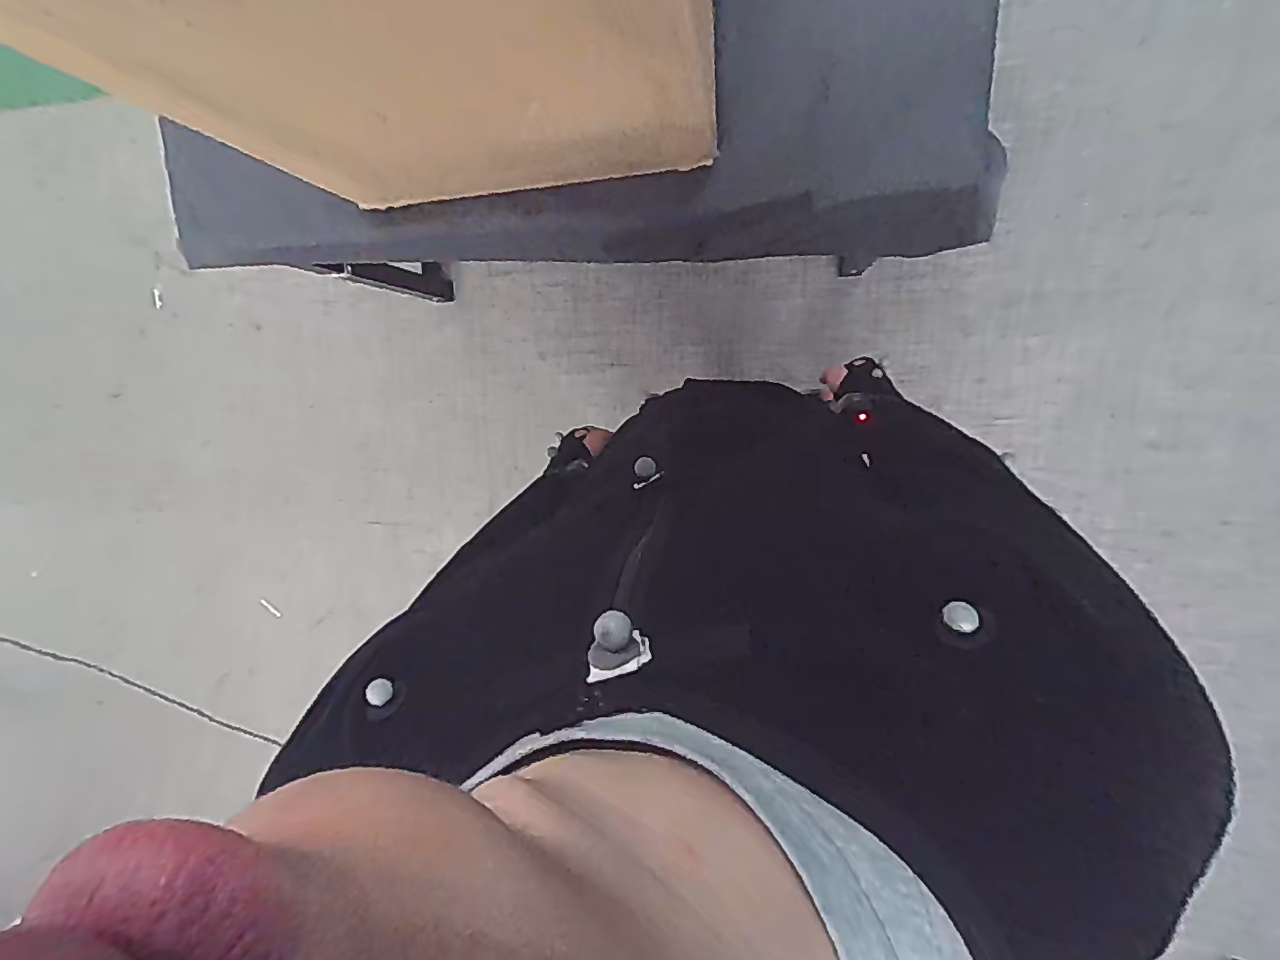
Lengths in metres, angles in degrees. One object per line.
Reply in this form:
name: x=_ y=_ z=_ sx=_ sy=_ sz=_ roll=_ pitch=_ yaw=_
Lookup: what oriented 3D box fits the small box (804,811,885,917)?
small box: x=0.595 y=1.121 z=1.594 sx=0.179 sy=0.176 sz=0.168 roll=11 pitch=101 yaw=11
